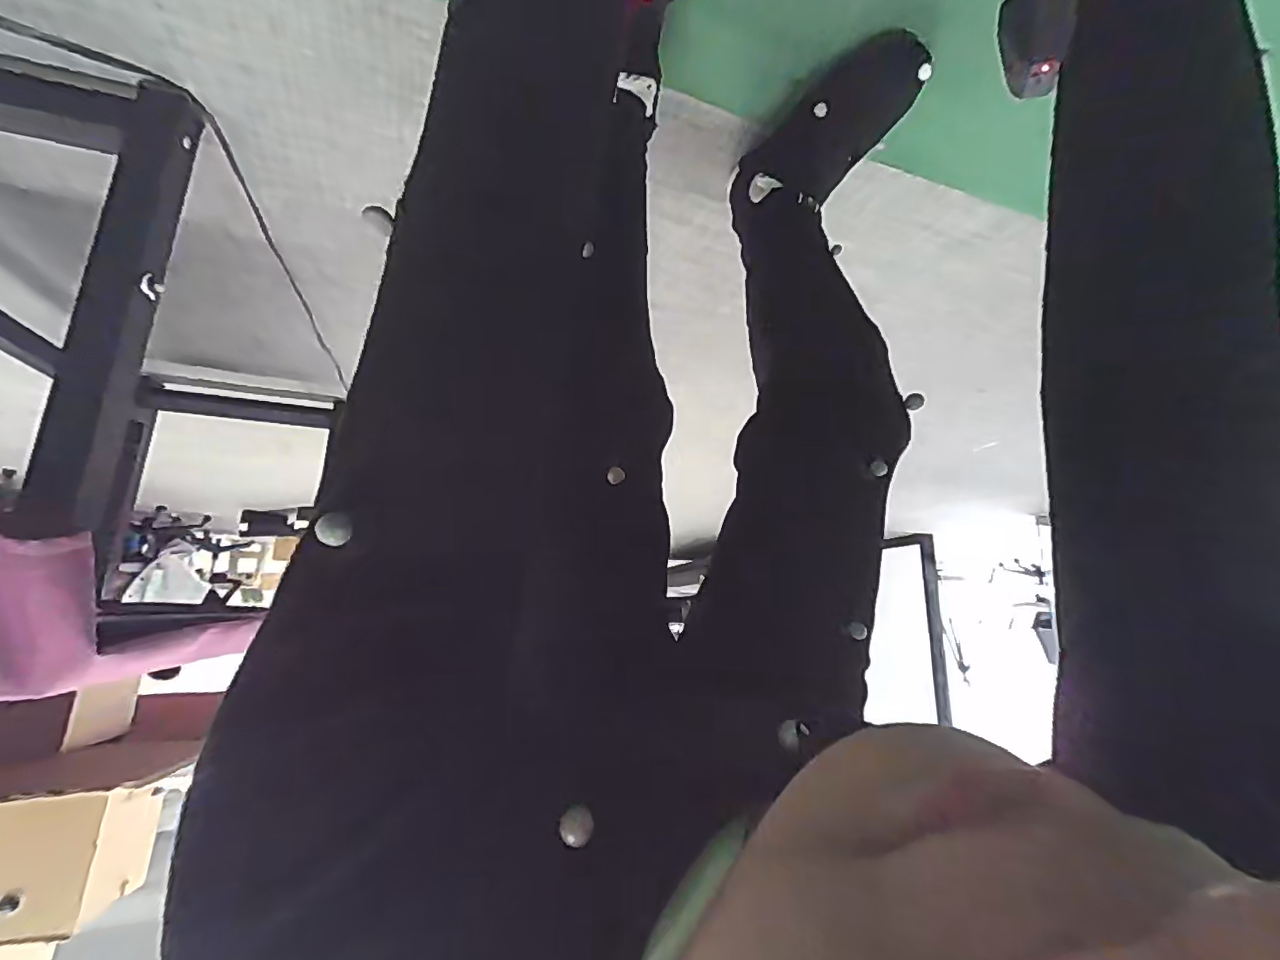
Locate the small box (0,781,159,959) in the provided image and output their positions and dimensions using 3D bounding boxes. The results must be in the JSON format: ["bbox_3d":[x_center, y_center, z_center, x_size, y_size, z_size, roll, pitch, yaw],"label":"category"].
[{"bbox_3d":[-0.808,0.524,0.740,0.179,0.176,0.168,6,162,-16],"label":"small box"}]
